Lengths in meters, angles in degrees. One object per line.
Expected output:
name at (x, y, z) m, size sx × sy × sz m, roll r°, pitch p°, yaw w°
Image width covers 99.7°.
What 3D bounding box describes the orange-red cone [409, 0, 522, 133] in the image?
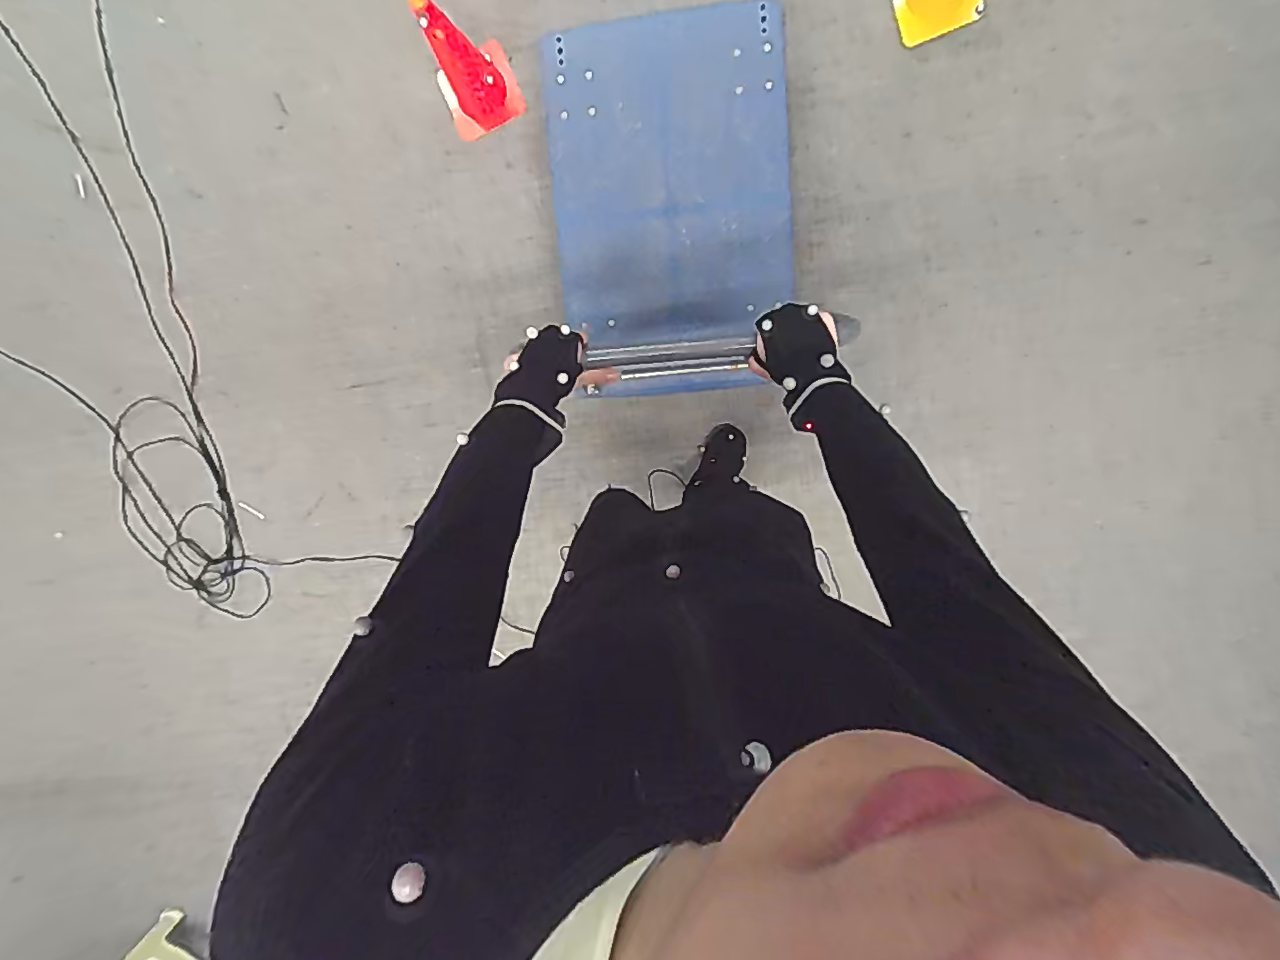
orange-red cone at (-0.455, -1.043, 1.299) m, size 0.199 × 0.360 × 0.198 m, roll -22°, pitch 96°, yaw 10°
